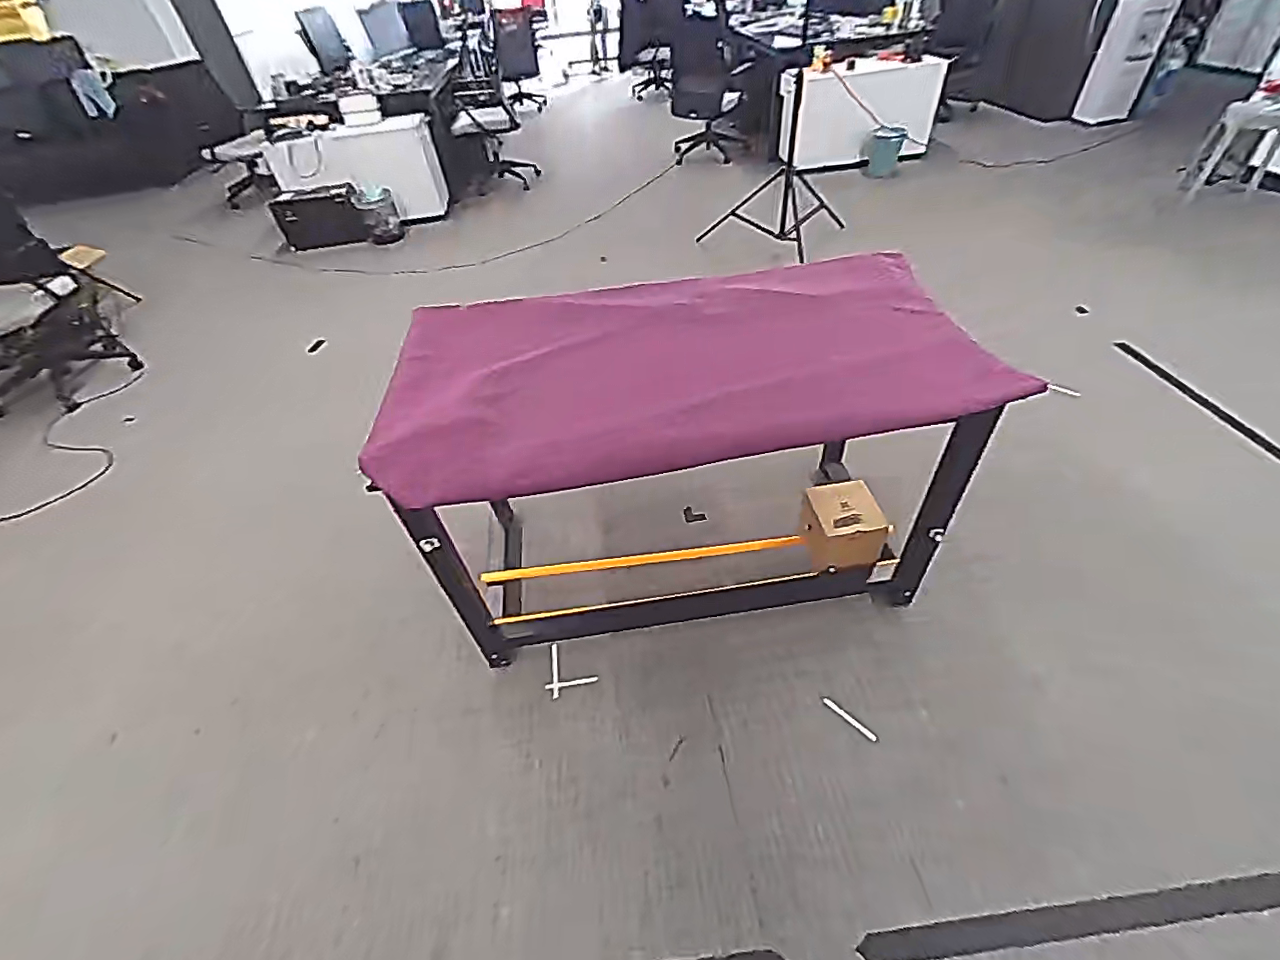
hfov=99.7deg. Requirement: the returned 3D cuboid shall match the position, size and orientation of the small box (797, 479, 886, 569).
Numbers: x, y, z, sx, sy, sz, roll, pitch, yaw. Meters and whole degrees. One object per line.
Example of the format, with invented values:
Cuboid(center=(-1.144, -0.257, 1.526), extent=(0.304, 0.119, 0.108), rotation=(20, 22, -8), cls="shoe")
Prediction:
Cuboid(center=(0.537, 0.126, 1.464), extent=(0.168, 0.176, 0.179), rotation=(-9, 44, -1), cls="small box")
